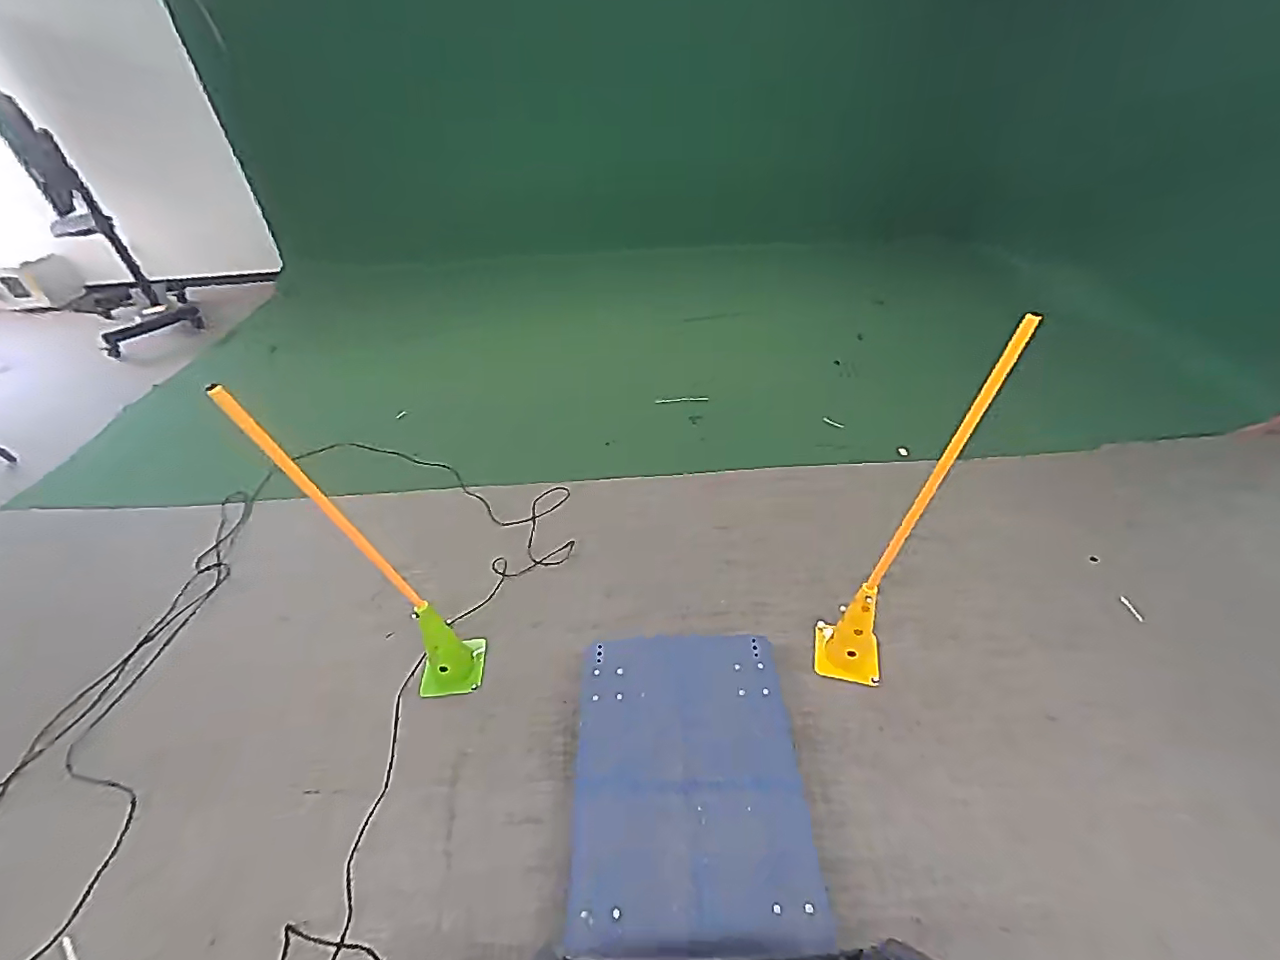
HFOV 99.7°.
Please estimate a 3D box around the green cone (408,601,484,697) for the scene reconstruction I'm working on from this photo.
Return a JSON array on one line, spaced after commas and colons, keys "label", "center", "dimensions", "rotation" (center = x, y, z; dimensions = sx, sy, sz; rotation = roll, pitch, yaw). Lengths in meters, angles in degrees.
[{"label": "green cone", "center": [-0.654, 0.507, 1.732], "dimensions": [0.202, 0.368, 0.200], "rotation": [-7, 40, -1]}]
